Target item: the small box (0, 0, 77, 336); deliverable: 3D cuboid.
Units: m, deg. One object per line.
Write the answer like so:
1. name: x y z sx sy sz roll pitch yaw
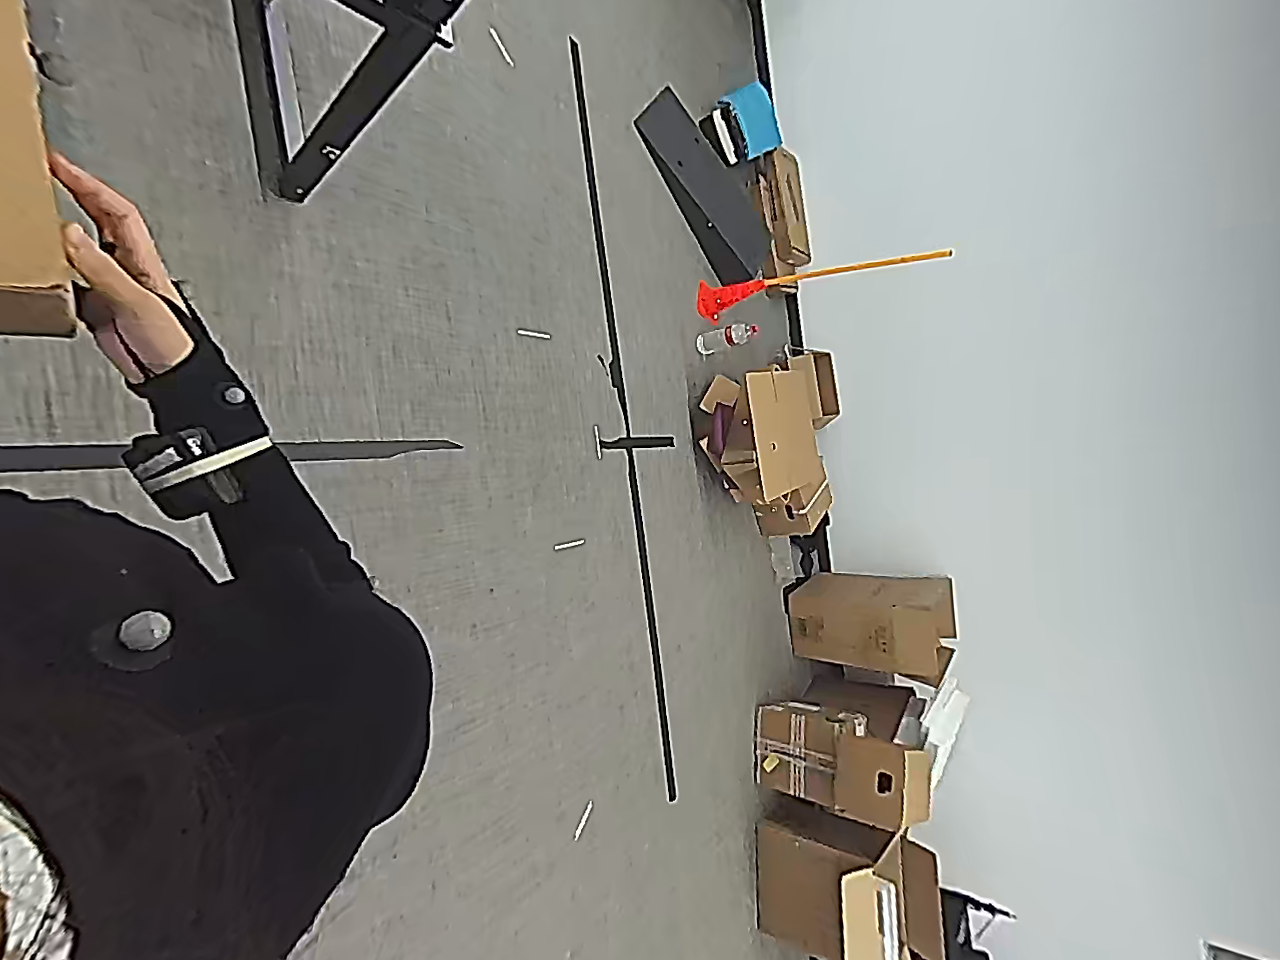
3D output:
1. small box: -0.414 -0.178 0.271 0.168 0.176 0.179 -9 100 -45
